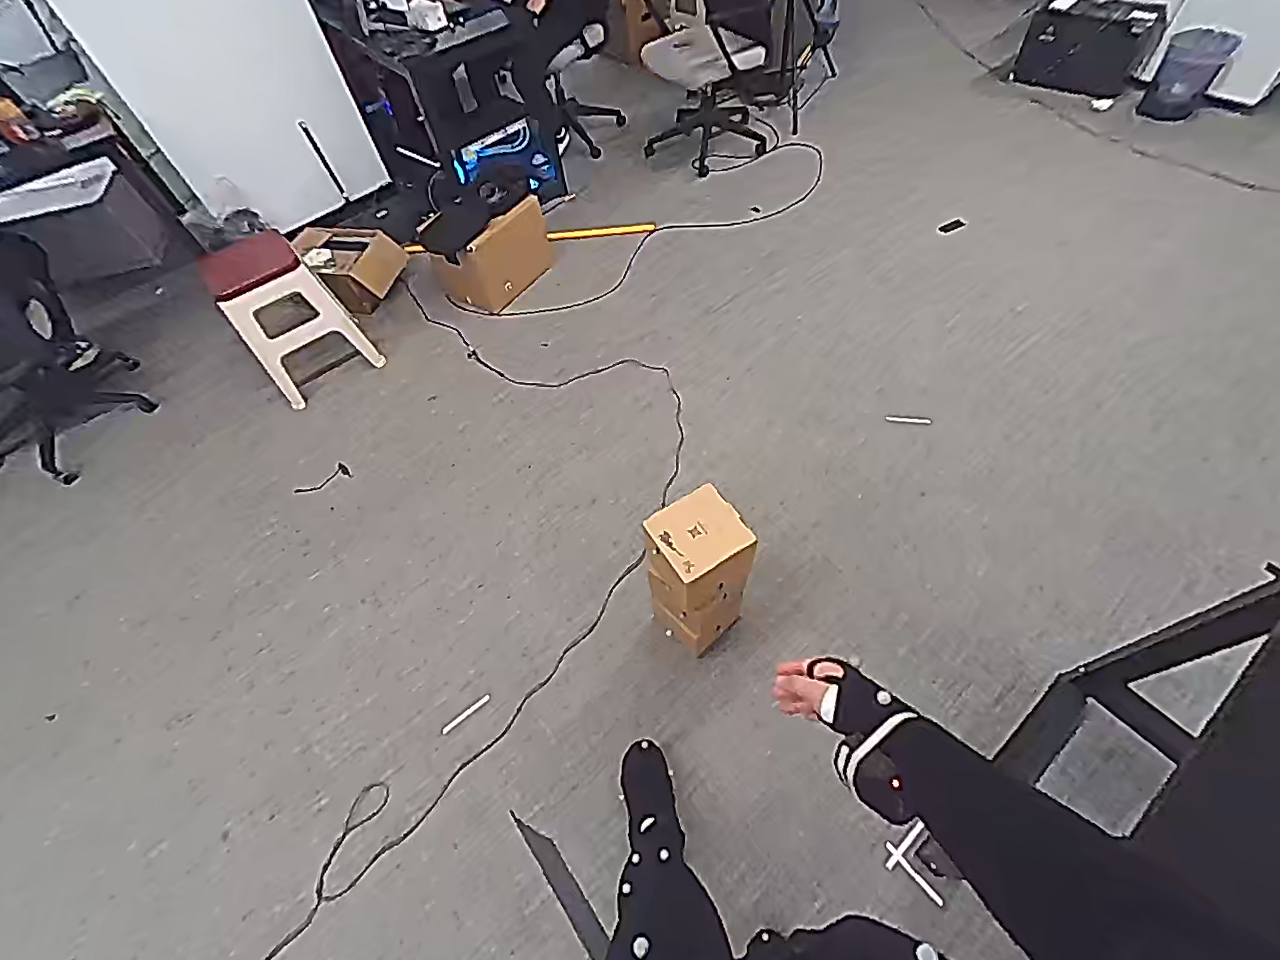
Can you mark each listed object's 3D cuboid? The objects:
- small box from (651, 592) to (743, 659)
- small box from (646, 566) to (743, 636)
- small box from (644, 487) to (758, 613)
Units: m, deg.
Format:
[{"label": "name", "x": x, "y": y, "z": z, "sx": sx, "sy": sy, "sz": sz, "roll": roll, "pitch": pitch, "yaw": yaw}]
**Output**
[{"label": "small box", "x": 0.148, "y": 0.335, "z": 1.420, "sx": 0.179, "sy": 0.176, "sz": 0.168, "roll": -40, "pitch": 61, "yaw": -18}, {"label": "small box", "x": 0.137, "y": 0.241, "z": 1.289, "sx": 0.168, "sy": 0.176, "sz": 0.179, "roll": 38, "pitch": 66, "yaw": 25}, {"label": "small box", "x": 0.124, "y": 0.151, "z": 1.152, "sx": 0.179, "sy": 0.176, "sz": 0.168, "roll": -29, "pitch": 58, "yaw": -14}]
